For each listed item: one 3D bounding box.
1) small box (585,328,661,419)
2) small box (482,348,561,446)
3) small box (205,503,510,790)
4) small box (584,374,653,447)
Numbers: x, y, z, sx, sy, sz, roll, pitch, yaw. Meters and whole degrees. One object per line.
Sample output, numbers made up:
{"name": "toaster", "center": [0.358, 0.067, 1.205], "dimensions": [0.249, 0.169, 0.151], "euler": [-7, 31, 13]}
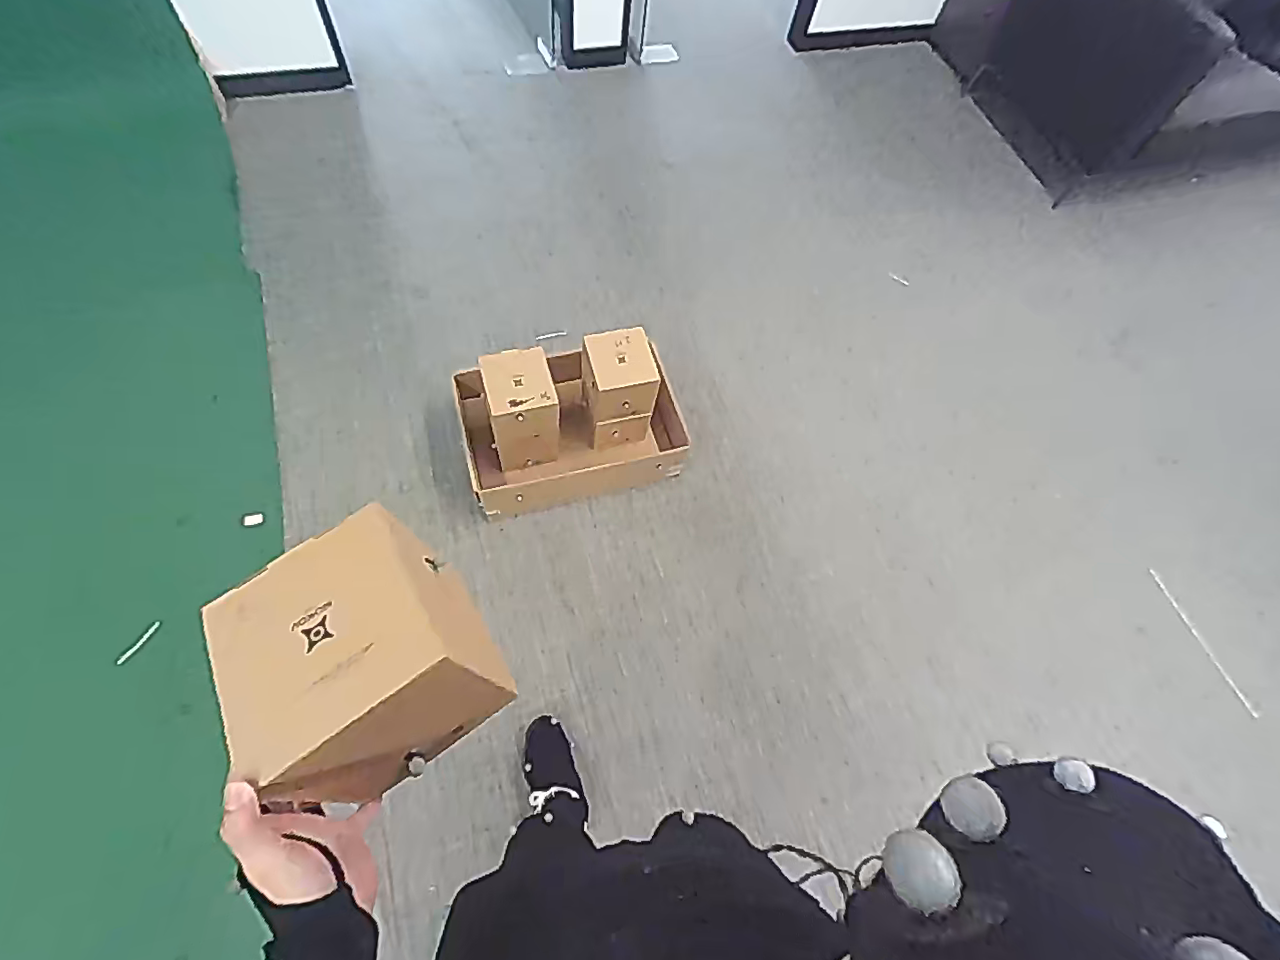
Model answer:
{"name": "small box", "center": [-0.051, -0.282, 1.473], "dimensions": [0.168, 0.176, 0.179], "euler": [-12, 68, -12]}
{"name": "small box", "center": [-0.305, -0.214, 1.407], "dimensions": [0.168, 0.176, 0.179], "euler": [-14, 69, -13]}
{"name": "small box", "center": [-0.250, 0.161, 0.505], "dimensions": [0.168, 0.176, 0.179], "euler": [-34, 59, -11]}
{"name": "small box", "center": [-0.069, -0.214, 1.622], "dimensions": [0.168, 0.176, 0.179], "euler": [-12, 68, -12]}
